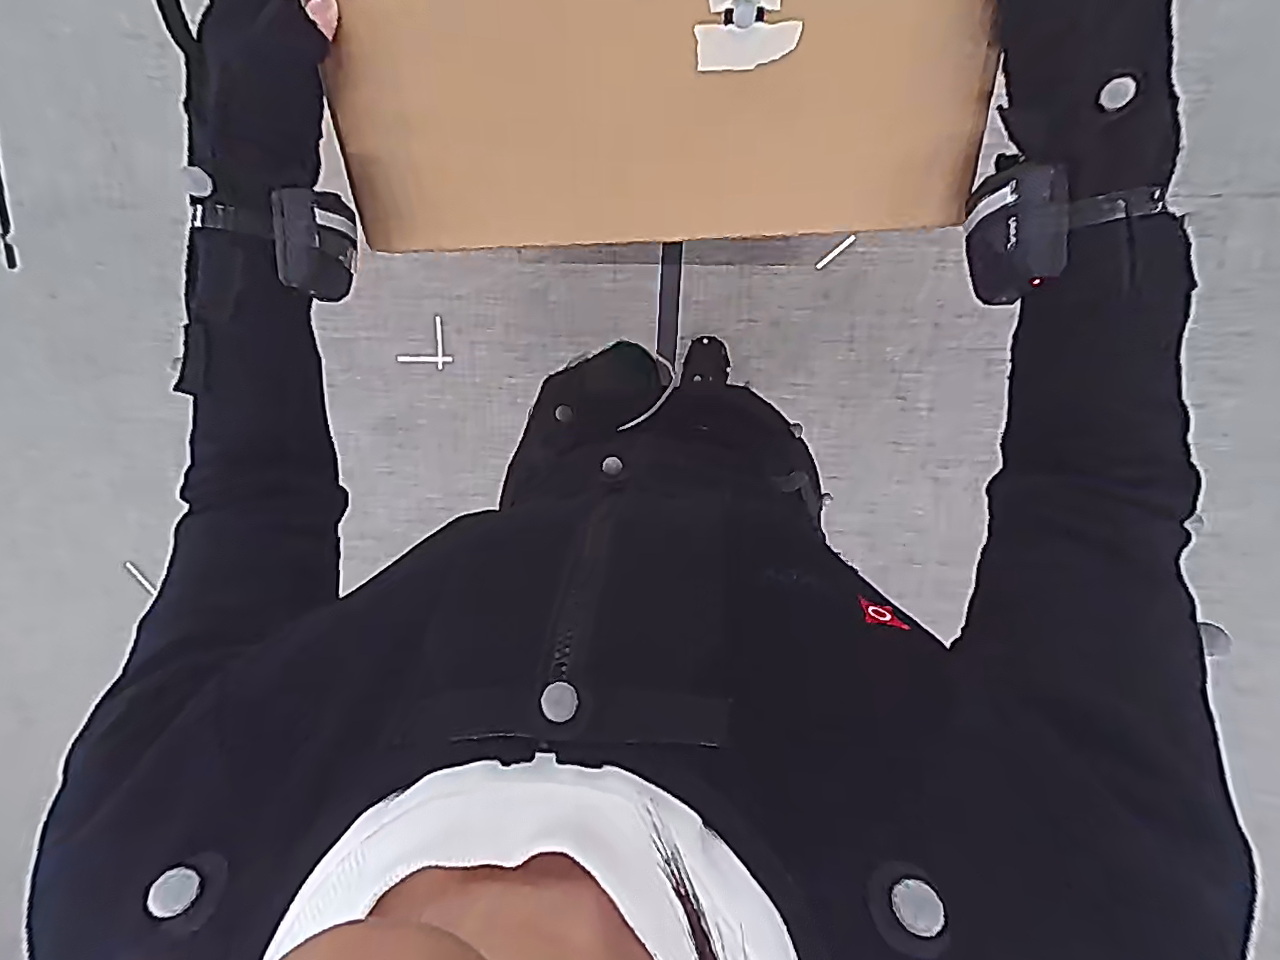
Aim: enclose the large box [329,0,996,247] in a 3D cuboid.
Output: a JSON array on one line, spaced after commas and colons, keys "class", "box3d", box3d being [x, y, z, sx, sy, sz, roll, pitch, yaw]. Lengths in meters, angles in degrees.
[{"class": "large box", "box3d": [0.018, -0.381, 0.436, 0.408, 0.320, 0.320, 1, 119, 9]}]
